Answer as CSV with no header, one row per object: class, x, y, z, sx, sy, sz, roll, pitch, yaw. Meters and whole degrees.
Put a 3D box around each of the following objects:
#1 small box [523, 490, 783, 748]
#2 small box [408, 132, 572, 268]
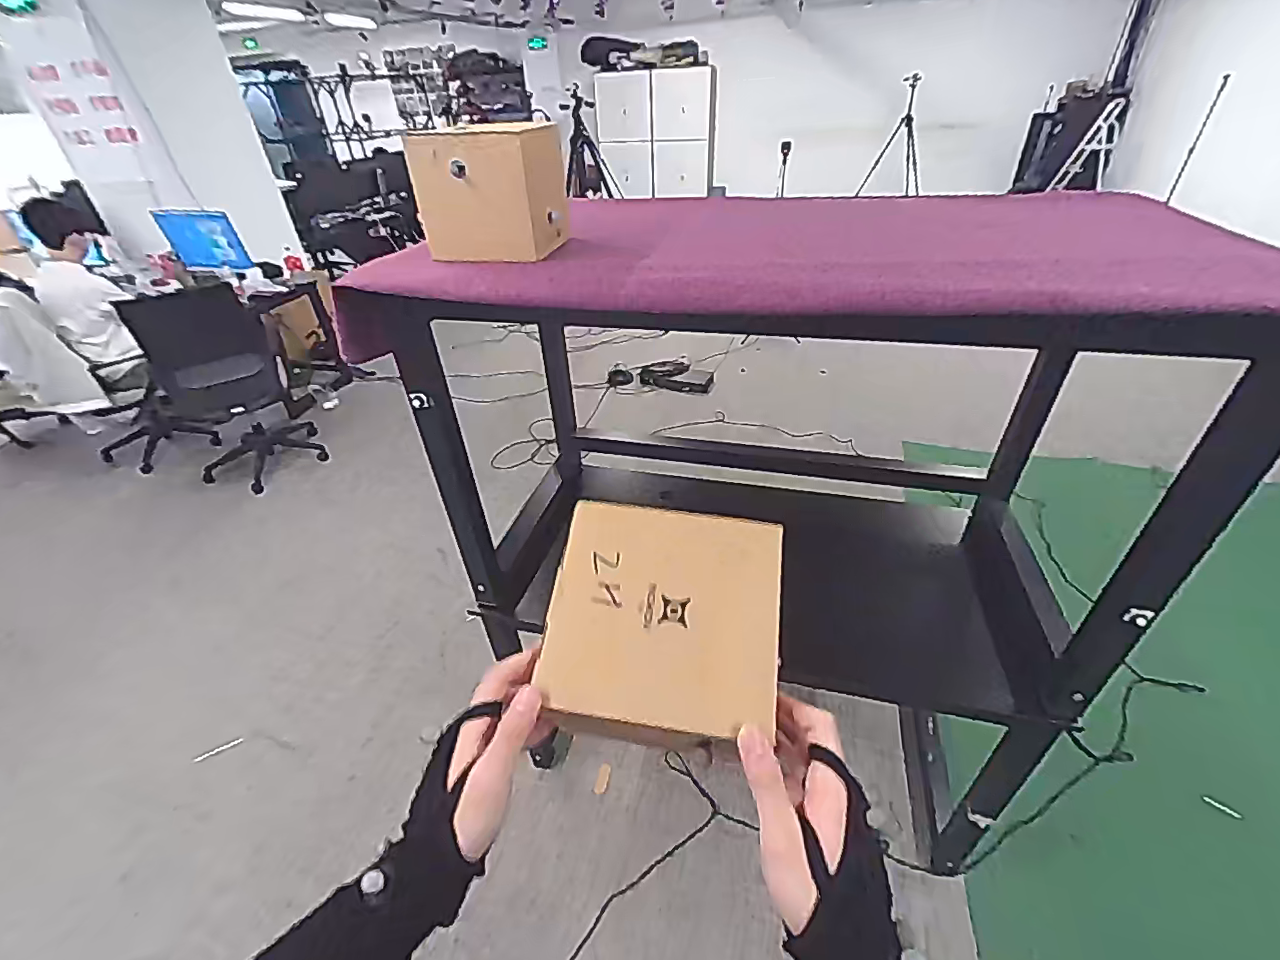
small box,0.021,0.129,0.475,0.179,0.176,0.168,6,59,8
small box,-0.218,-0.433,0.837,0.179,0.176,0.168,6,36,11
